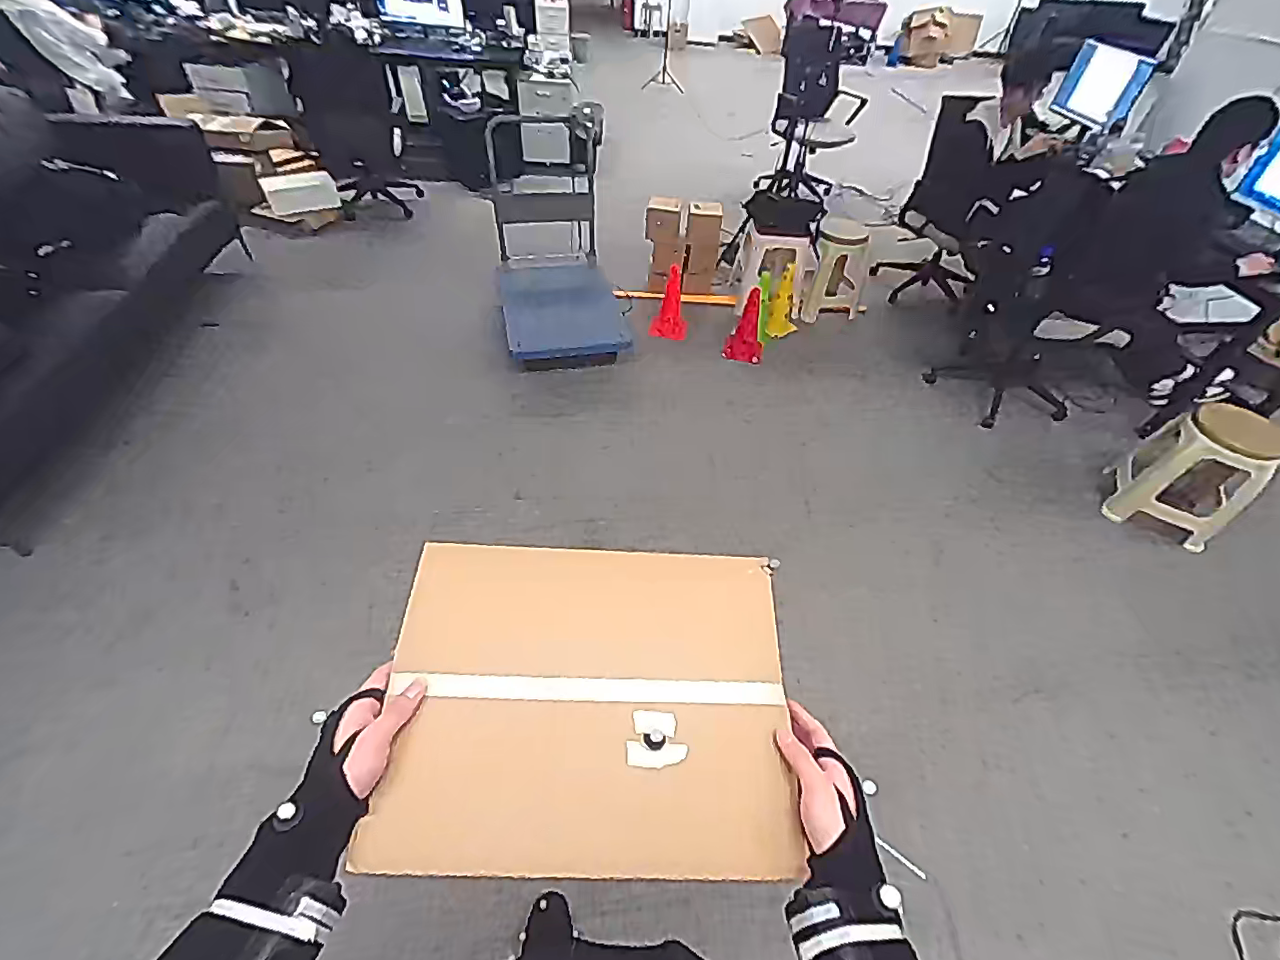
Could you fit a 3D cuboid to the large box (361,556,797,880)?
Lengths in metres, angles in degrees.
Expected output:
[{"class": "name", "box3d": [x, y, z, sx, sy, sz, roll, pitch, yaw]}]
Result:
[{"class": "large box", "box3d": [-0.063, 0.307, 0.691, 0.408, 0.320, 0.320, 3, 58, -3]}]
